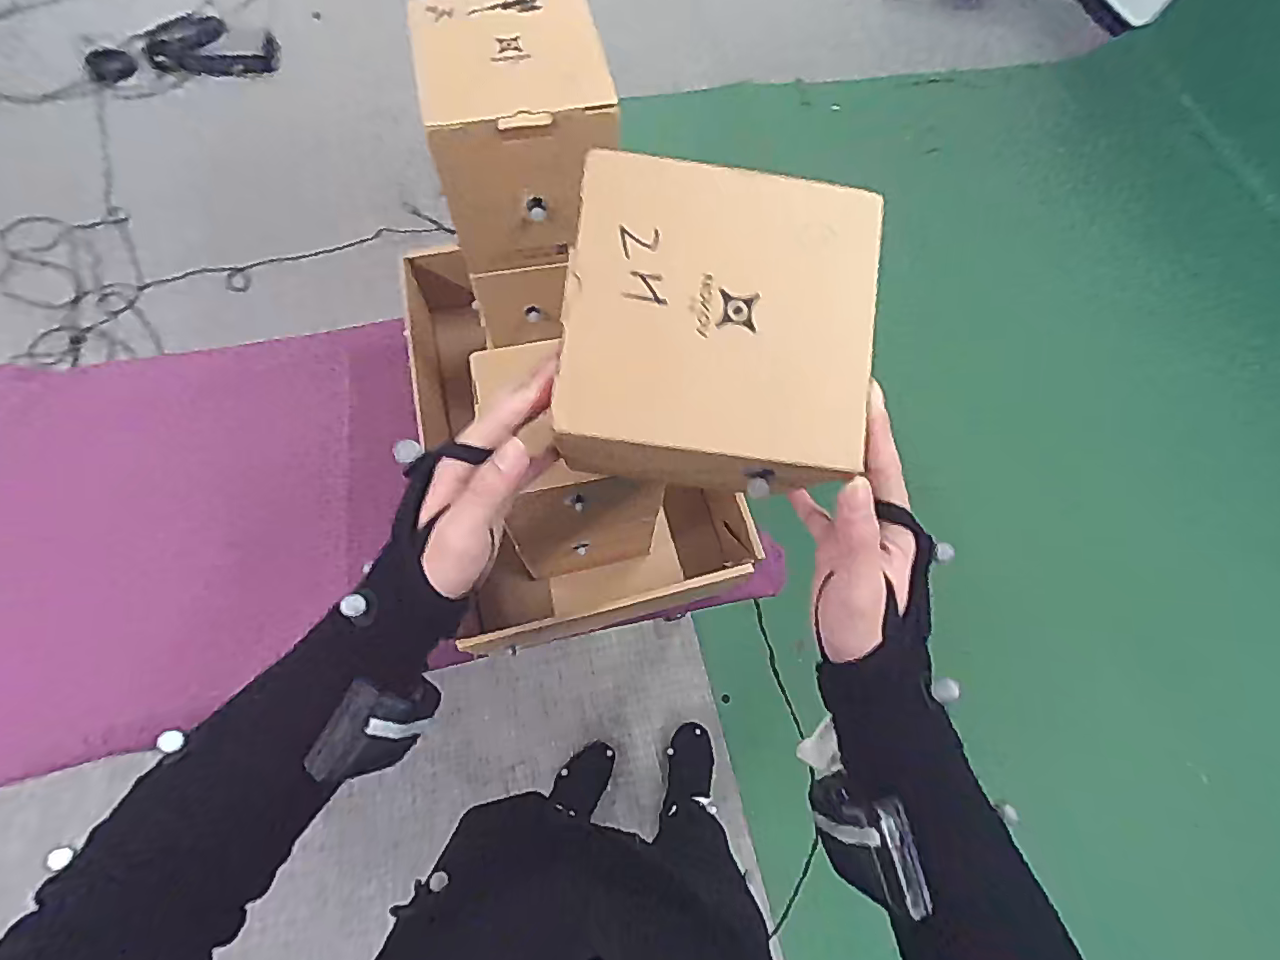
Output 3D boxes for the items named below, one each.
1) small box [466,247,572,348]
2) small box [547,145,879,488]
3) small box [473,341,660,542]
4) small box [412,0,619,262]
[{"bbox_3d":[-0.128,-0.283,0.705,0.168,0.176,0.179,-11,69,-8],"label":"small box"},{"bbox_3d":[0.039,-0.090,0.381,0.179,0.176,0.168,7,82,-3],"label":"small box"},{"bbox_3d":[-0.075,-0.039,0.607,0.179,0.176,0.168,-10,69,-7],"label":"small box"},{"bbox_3d":[-0.117,-0.346,0.553,0.168,0.176,0.179,-11,70,-8],"label":"small box"}]
